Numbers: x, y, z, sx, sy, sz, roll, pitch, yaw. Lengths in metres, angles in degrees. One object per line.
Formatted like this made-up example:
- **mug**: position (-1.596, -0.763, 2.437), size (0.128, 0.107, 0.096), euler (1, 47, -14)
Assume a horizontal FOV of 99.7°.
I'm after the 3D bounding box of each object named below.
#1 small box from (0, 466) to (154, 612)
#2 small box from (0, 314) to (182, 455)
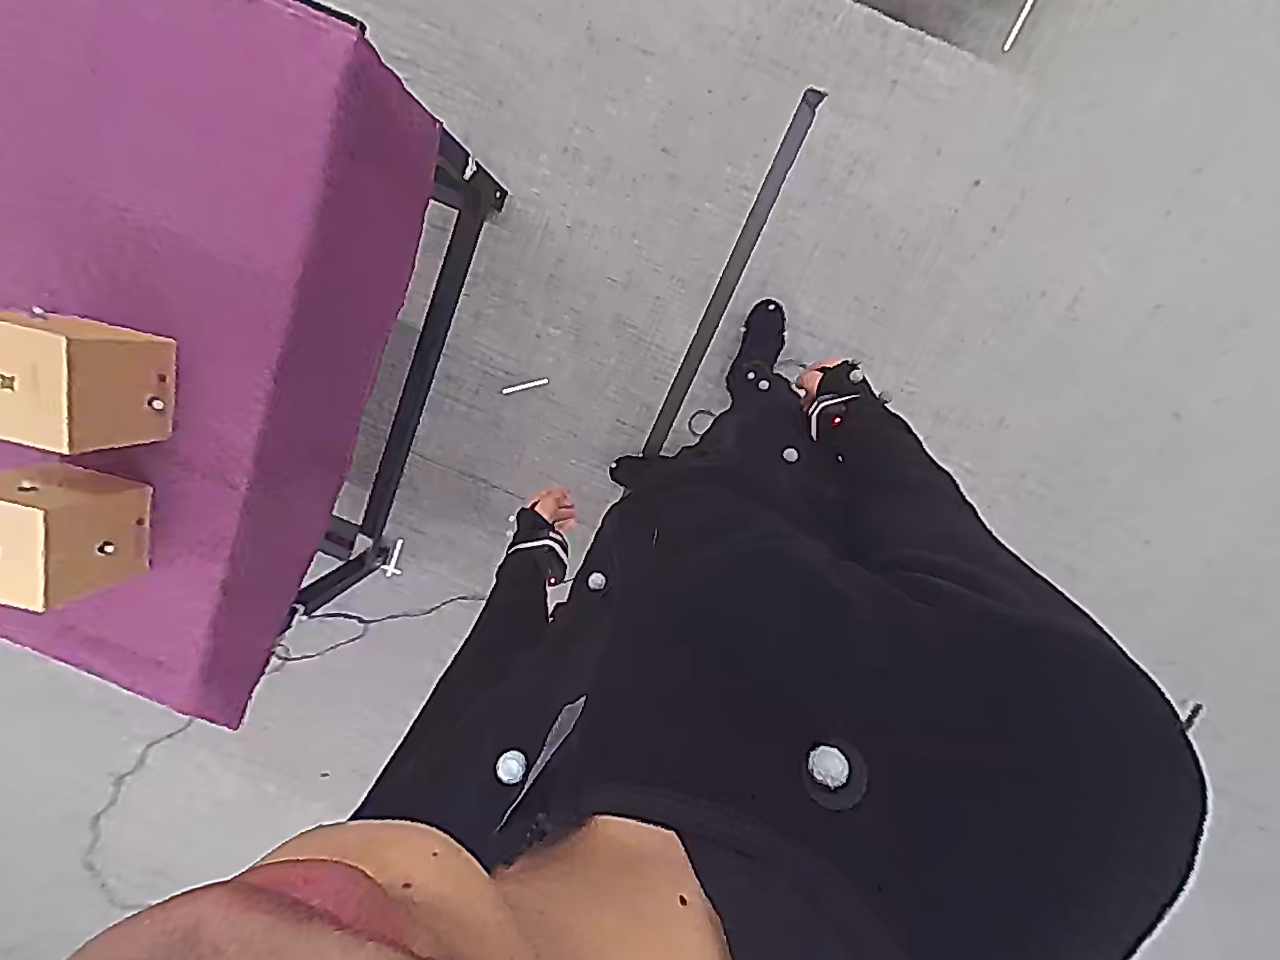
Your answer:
- **small box**: position (-0.937, 0.085, 0.867), size (0.179, 0.176, 0.168), euler (15, 102, 1)
- **small box**: position (-0.849, -0.146, 0.813), size (0.179, 0.176, 0.168), euler (14, 103, 1)
